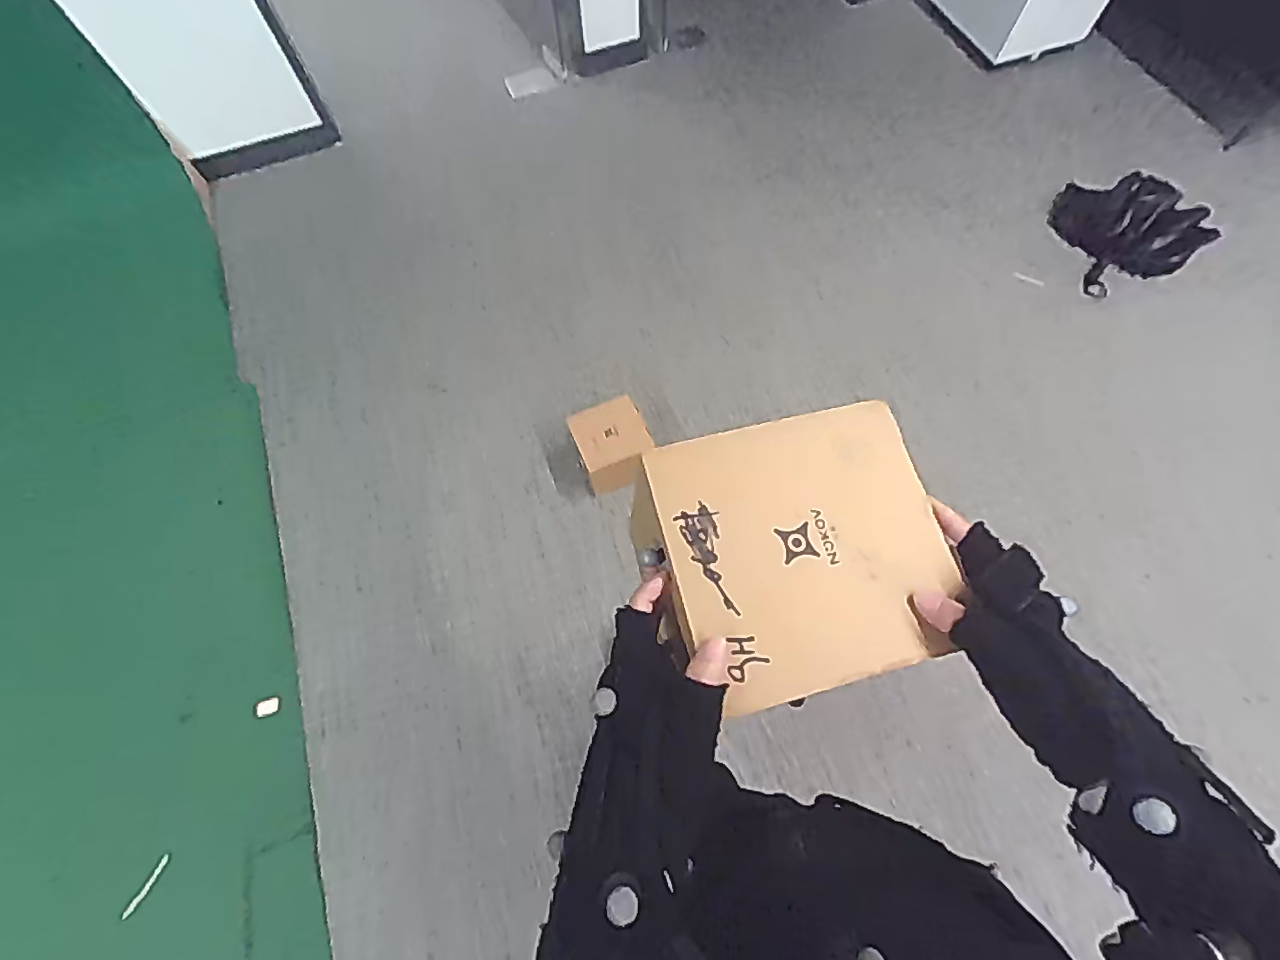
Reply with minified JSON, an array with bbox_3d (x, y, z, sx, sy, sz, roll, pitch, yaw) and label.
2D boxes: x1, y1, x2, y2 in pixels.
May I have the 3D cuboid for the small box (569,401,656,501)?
[{"bbox_3d":[-0.065,-0.070,1.396,0.179,0.176,0.168,-24,67,-7],"label":"small box"}]

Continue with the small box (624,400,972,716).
[{"bbox_3d":[0.093,0.065,0.412,0.179,0.176,0.168,-15,71,-8],"label":"small box"}]
